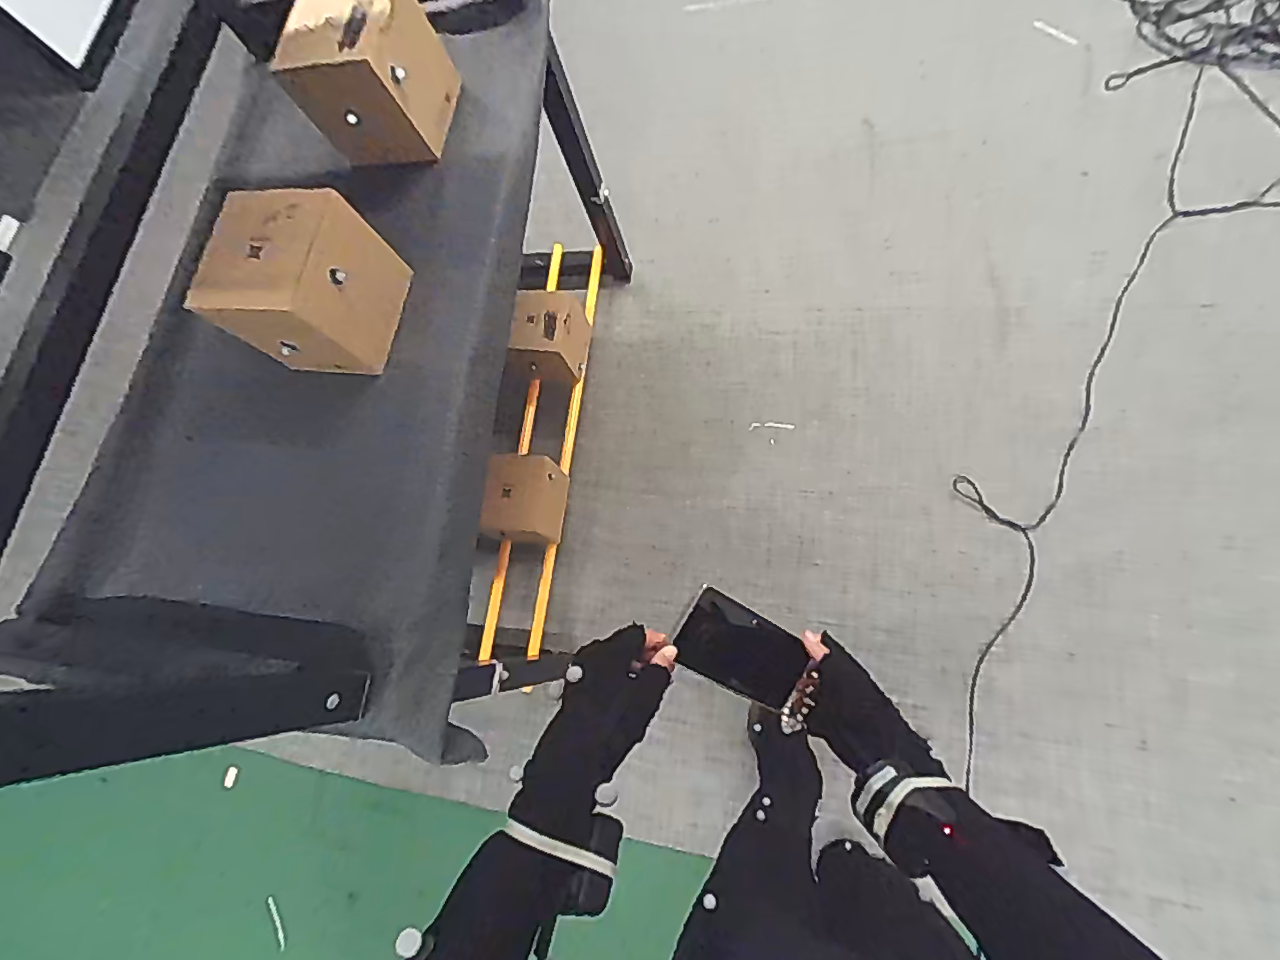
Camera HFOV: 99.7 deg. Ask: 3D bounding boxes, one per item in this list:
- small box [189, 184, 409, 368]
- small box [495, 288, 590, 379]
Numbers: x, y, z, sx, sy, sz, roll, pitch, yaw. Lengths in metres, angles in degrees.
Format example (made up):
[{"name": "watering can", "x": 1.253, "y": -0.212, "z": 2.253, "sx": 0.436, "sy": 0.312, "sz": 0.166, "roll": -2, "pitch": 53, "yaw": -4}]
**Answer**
[{"name": "small box", "x": -0.449, "y": -0.269, "z": 0.741, "sx": 0.168, "sy": 0.176, "sz": 0.179, "roll": 6, "pitch": 76, "yaw": 14}, {"name": "small box", "x": -0.241, "y": -0.371, "z": 1.389, "sx": 0.179, "sy": 0.176, "sz": 0.168, "roll": 7, "pitch": 76, "yaw": 14}]
